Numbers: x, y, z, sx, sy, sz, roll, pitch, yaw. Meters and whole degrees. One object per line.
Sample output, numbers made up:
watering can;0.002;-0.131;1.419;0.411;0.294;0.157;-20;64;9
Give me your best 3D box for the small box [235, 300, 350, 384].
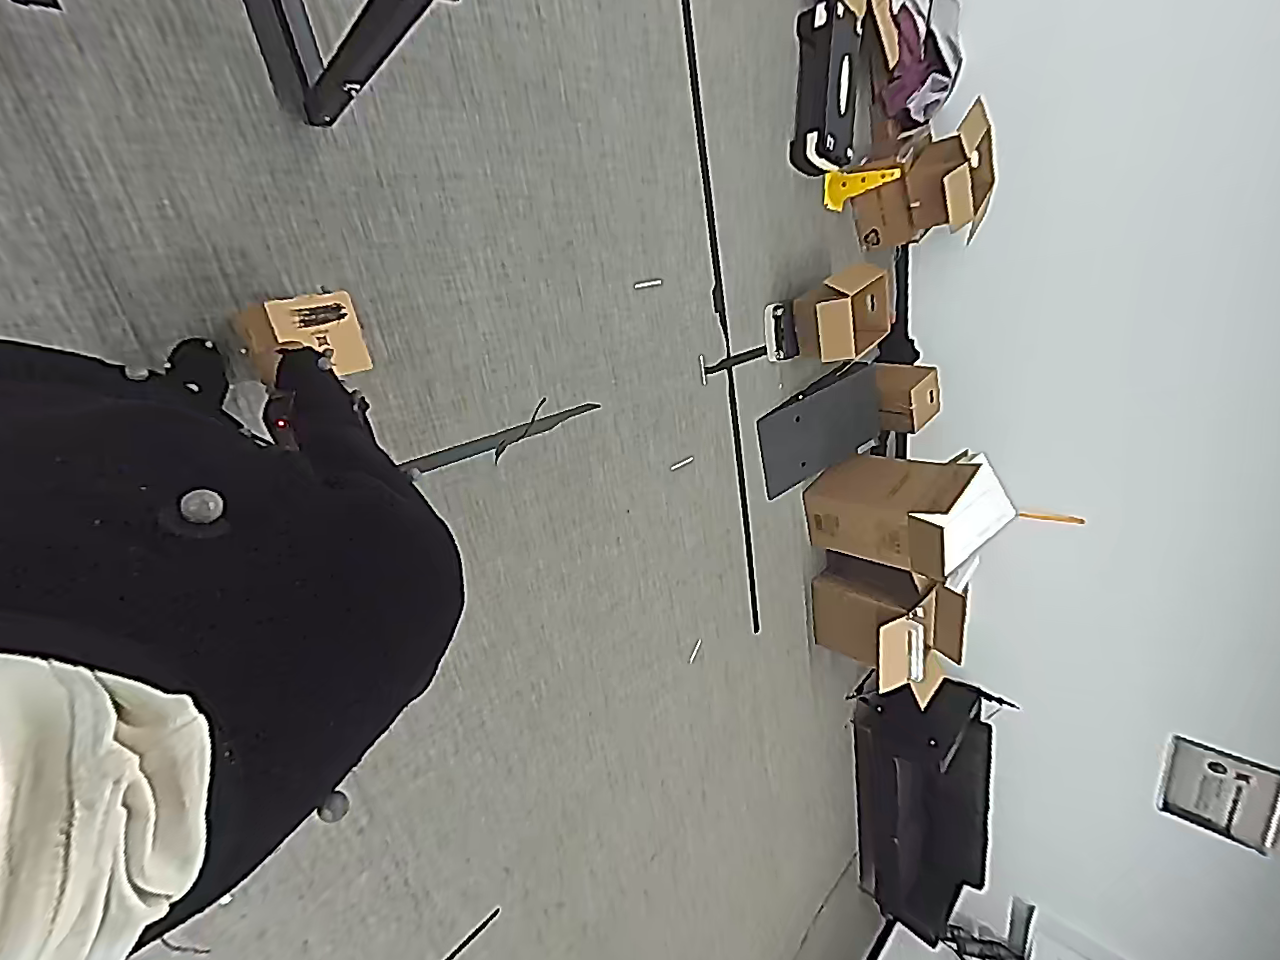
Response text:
small box;-0.852;-0.340;1.326;0.179;0.176;0.168;-28;117;-36
